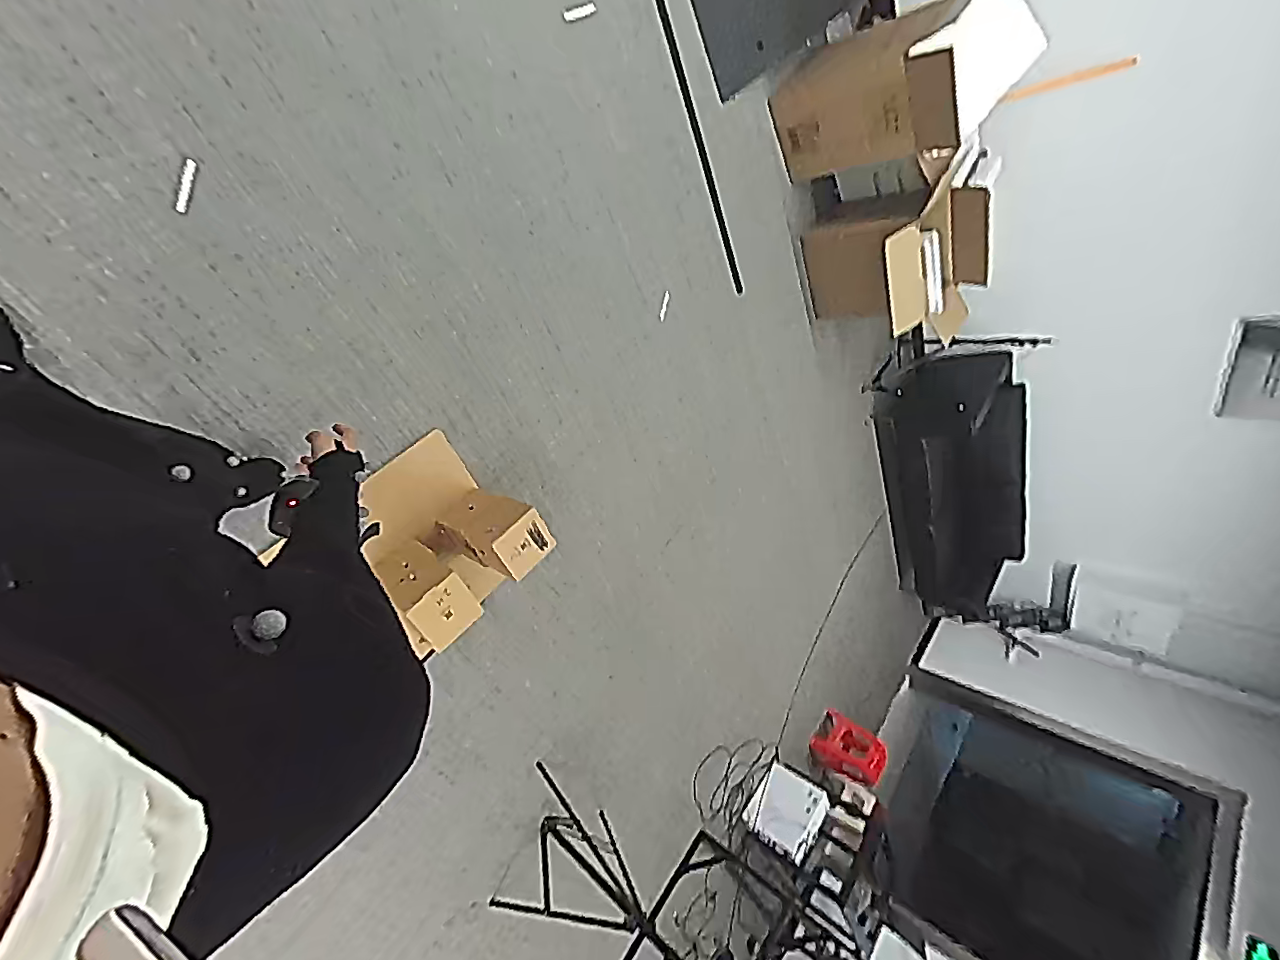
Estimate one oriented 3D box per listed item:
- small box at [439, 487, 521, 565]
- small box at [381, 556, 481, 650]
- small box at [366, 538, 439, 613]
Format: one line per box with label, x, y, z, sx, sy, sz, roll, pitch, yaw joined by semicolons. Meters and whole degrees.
small box;-0.536;0.146;1.781;0.179;0.176;0.168;-46;130;-29
small box;-0.593;0.341;1.535;0.168;0.176;0.179;-43;128;-30
small box;-0.705;0.305;1.651;0.179;0.176;0.168;-44;128;-29
